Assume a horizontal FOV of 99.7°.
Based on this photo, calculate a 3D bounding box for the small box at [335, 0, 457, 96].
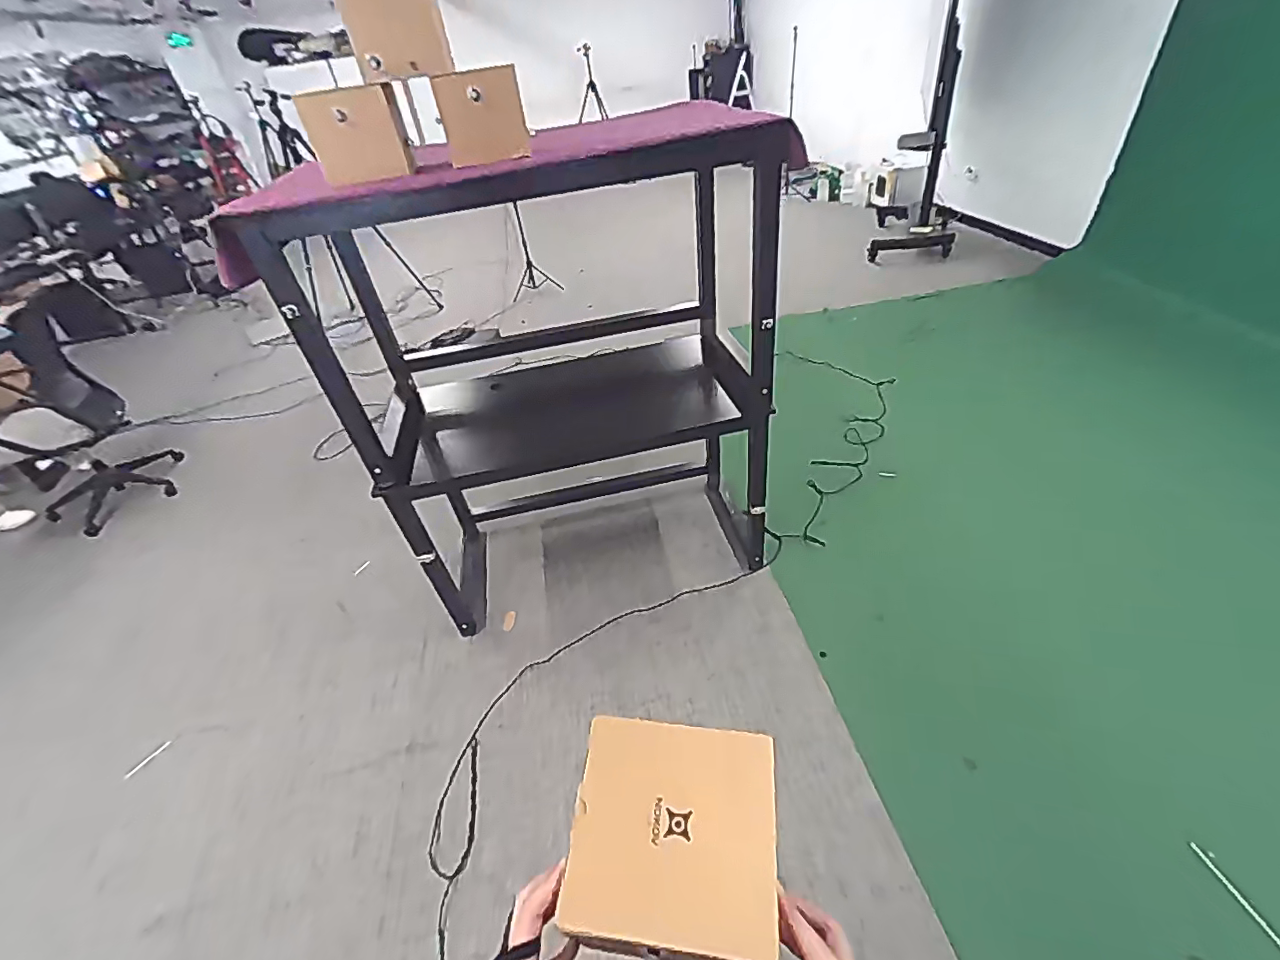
[{"bbox_3d":[-0.485,-0.895,1.099,0.168,0.176,0.179,-10,38,-3],"label":"small box"}]

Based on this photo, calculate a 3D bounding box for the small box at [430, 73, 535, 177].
[{"bbox_3d":[-0.341,-0.786,1.199,0.179,0.176,0.168,-12,39,-4],"label":"small box"}]

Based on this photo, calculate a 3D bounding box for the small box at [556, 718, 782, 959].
[{"bbox_3d":[0.036,0.352,0.523,0.179,0.176,0.168,2,46,9],"label":"small box"}]

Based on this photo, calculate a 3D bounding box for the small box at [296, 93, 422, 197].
[{"bbox_3d":[-0.604,-0.736,1.186,0.179,0.176,0.168,-13,40,-6],"label":"small box"}]
